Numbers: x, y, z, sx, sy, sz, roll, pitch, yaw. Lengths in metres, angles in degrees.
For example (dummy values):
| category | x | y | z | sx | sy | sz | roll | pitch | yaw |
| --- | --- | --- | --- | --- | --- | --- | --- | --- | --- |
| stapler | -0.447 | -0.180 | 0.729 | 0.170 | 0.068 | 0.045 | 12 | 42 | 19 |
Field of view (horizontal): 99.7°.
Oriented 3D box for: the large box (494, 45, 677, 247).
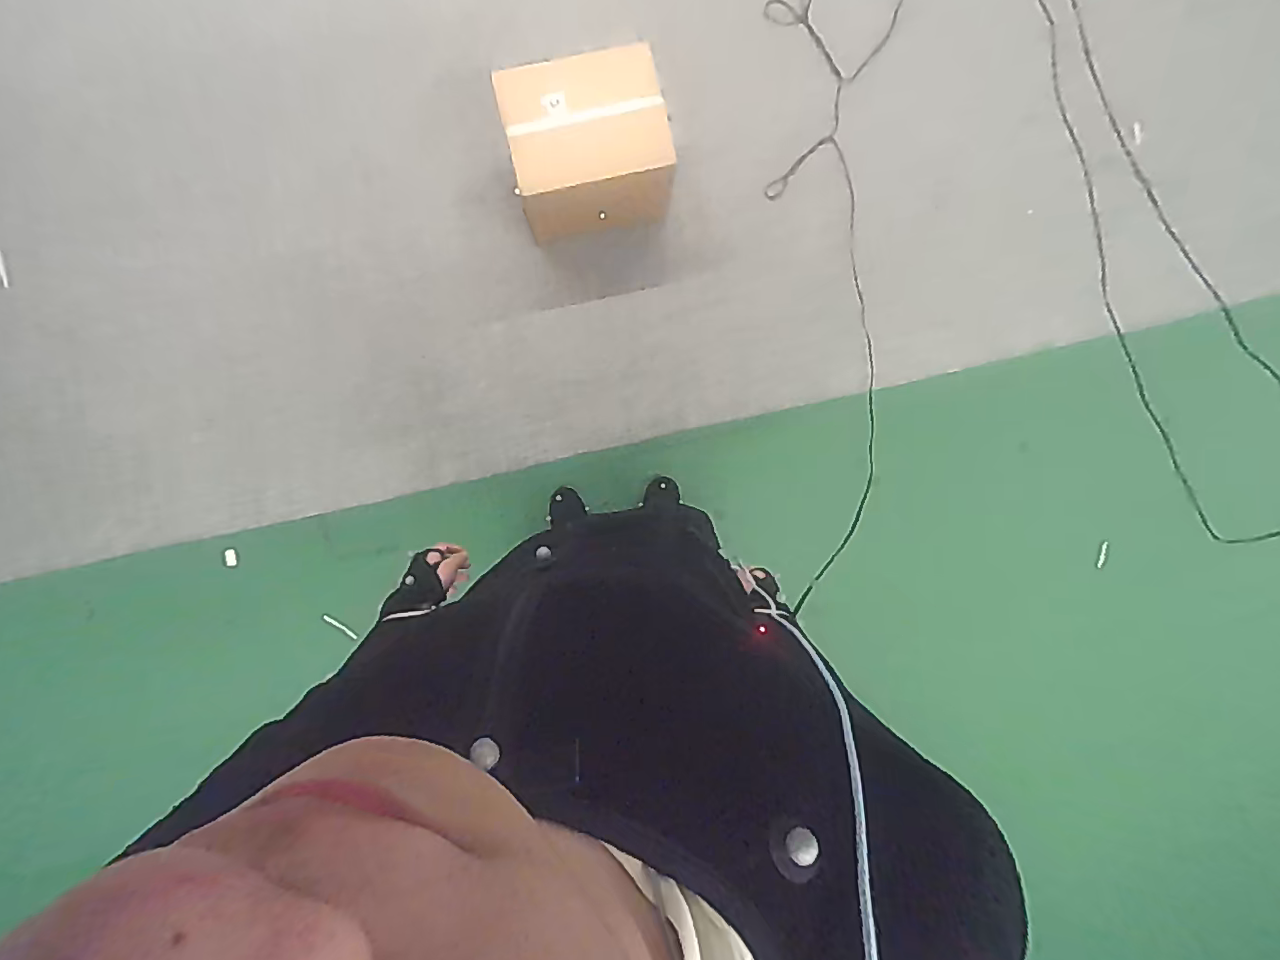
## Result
| category | x | y | z | sx | sy | sz | roll | pitch | yaw |
| --- | --- | --- | --- | --- | --- | --- | --- | --- | --- |
| large box | -0.140 | -0.899 | 1.501 | 0.408 | 0.320 | 0.320 | -14 | 91 | -2 |
